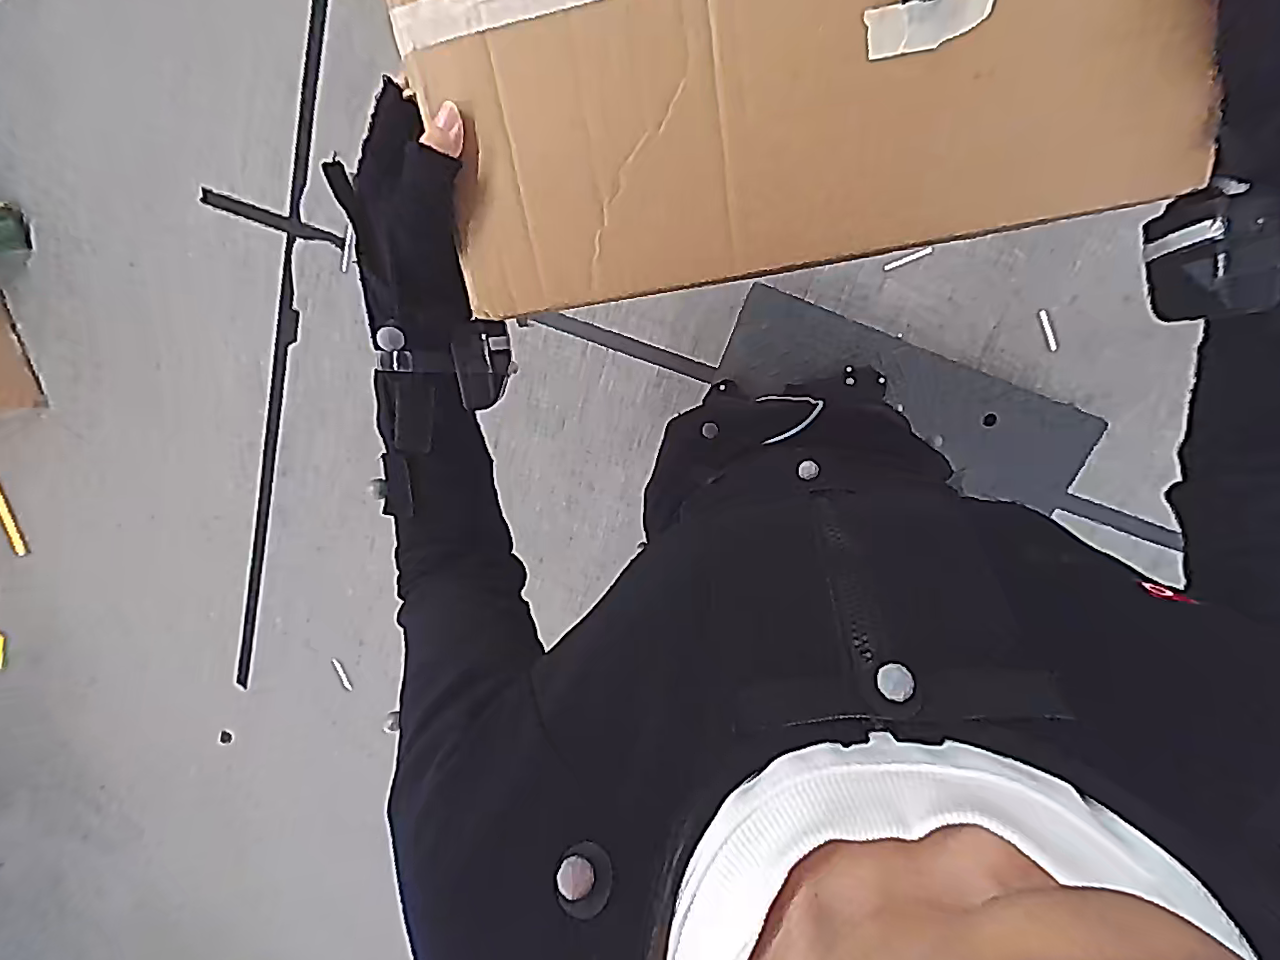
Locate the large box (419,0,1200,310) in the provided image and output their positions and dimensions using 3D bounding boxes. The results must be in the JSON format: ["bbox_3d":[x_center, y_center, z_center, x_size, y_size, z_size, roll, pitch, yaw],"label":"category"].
[{"bbox_3d":[0.085,-0.330,0.417,0.408,0.320,0.320,-7,109,9],"label":"large box"}]

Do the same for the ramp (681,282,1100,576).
[{"bbox_3d":[0.653,-0.109,1.426,0.991,0.206,0.509,21,105,5],"label":"ramp"}]
